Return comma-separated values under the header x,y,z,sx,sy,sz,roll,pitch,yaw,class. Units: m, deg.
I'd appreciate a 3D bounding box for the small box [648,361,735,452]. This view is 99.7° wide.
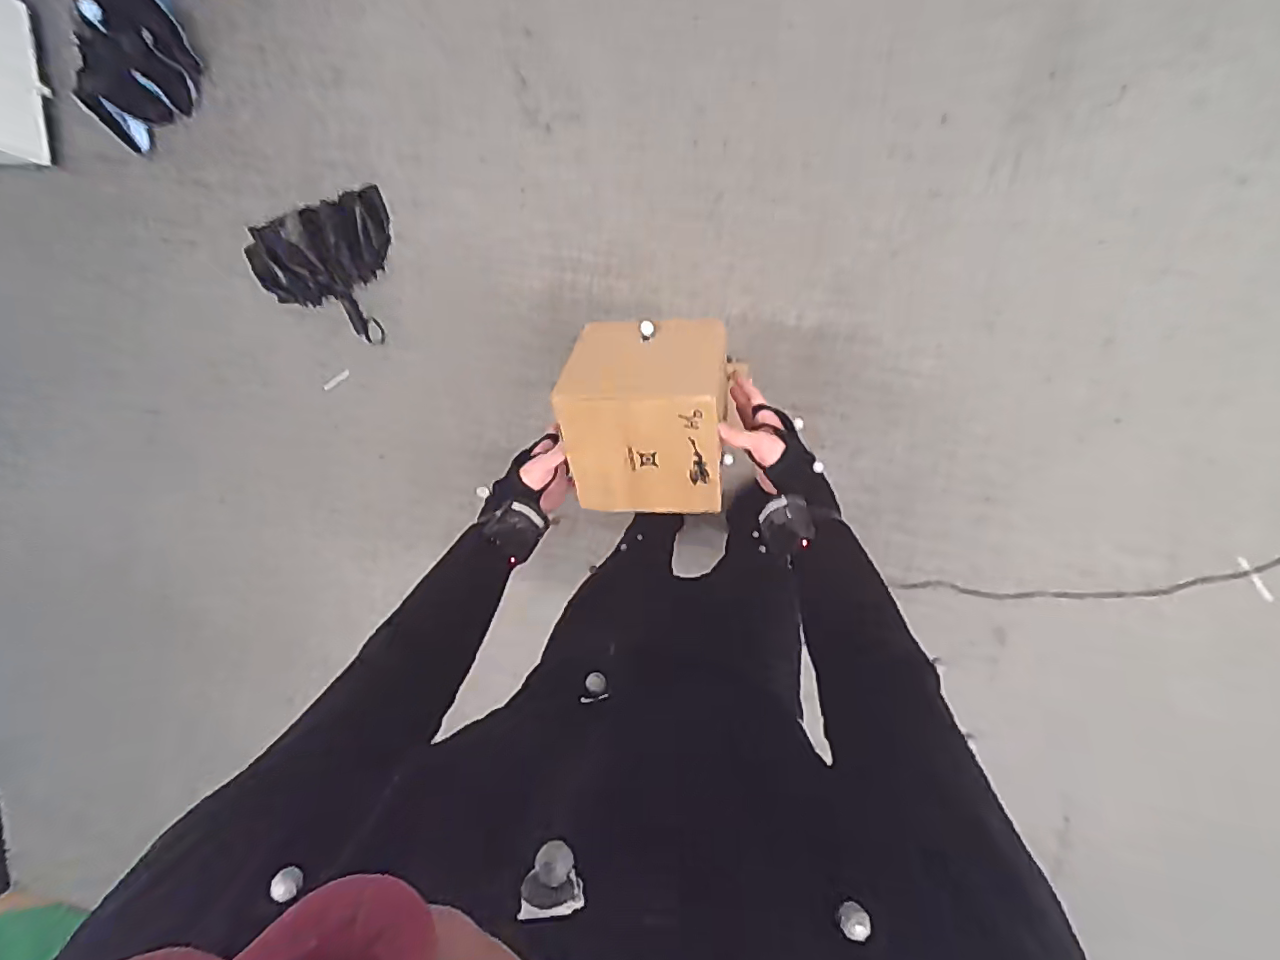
x,y,z,sx,sy,sz,roll,pitch,yaw,class
0.117,-0.166,1.193,0.168,0.176,0.179,6,103,9,small box
